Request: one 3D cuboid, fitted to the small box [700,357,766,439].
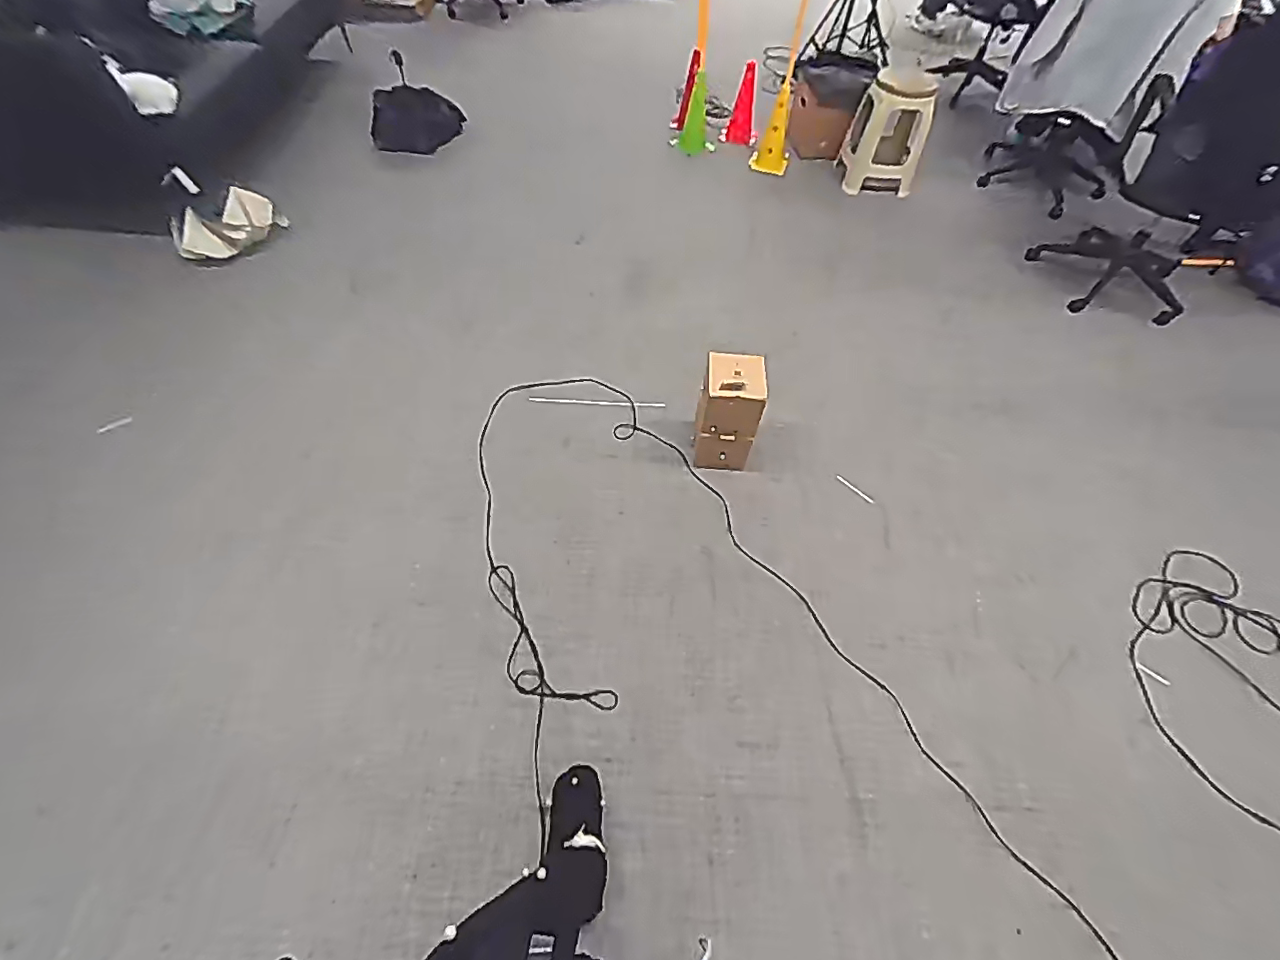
[{"bbox_3d":[0.274,-0.239,1.608,0.168,0.176,0.179,5,55,0],"label":"small box"}]

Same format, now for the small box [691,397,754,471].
[{"bbox_3d":[0.261,-0.143,1.744,0.168,0.176,0.179,4,58,-4],"label":"small box"}]
